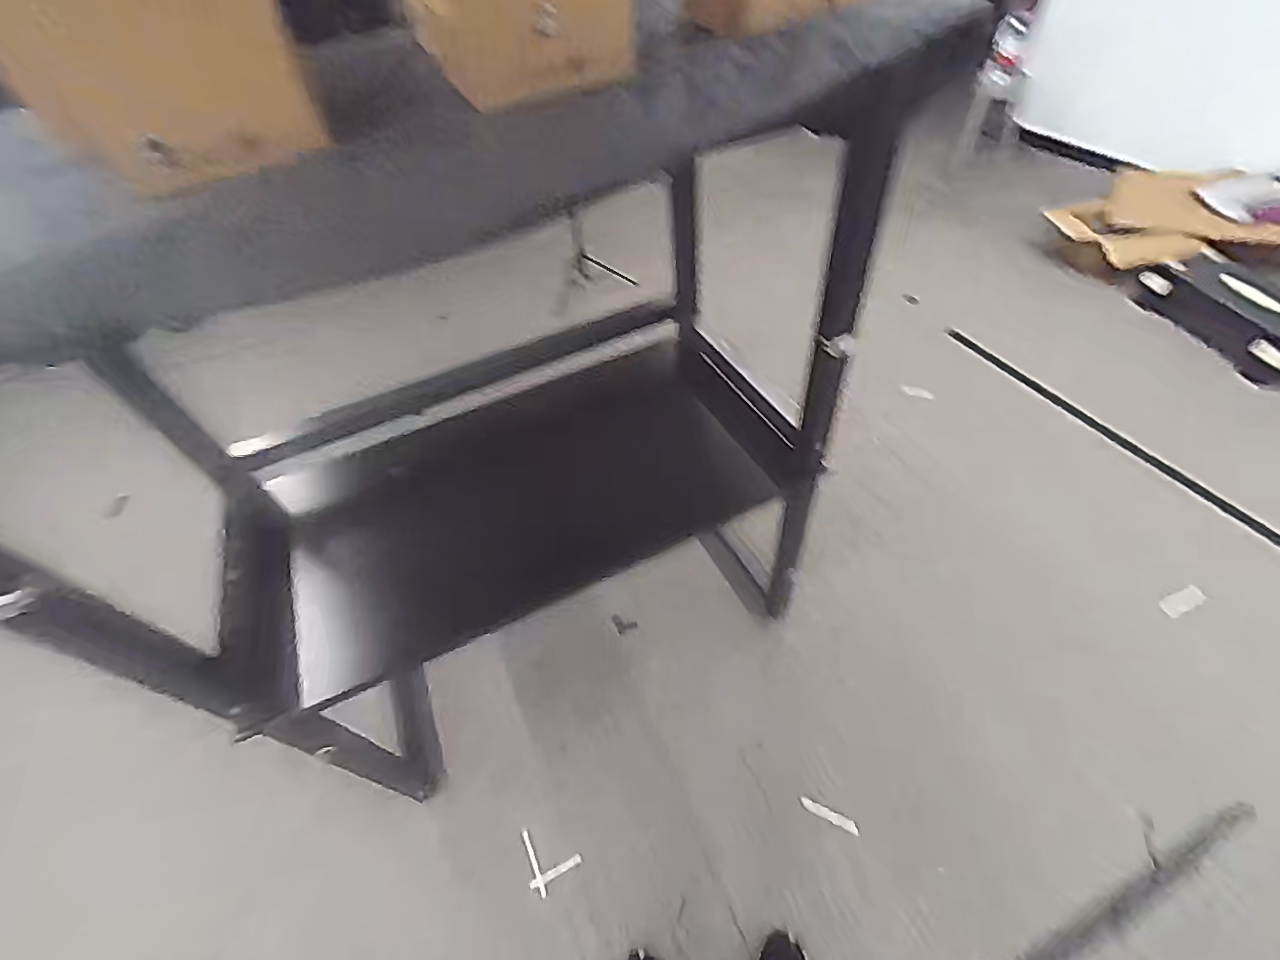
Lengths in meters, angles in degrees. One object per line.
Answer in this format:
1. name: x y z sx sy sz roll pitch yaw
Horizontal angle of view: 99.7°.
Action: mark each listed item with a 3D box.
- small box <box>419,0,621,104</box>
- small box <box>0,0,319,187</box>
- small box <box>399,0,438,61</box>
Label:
1. small box: -0.131 -0.492 0.527 0.168 0.176 0.179 -22 50 -10
2. small box: -0.405 -0.378 0.470 0.168 0.176 0.179 -22 50 -11
3. small box: -0.226 -0.663 0.684 0.179 0.176 0.168 -22 51 -11
